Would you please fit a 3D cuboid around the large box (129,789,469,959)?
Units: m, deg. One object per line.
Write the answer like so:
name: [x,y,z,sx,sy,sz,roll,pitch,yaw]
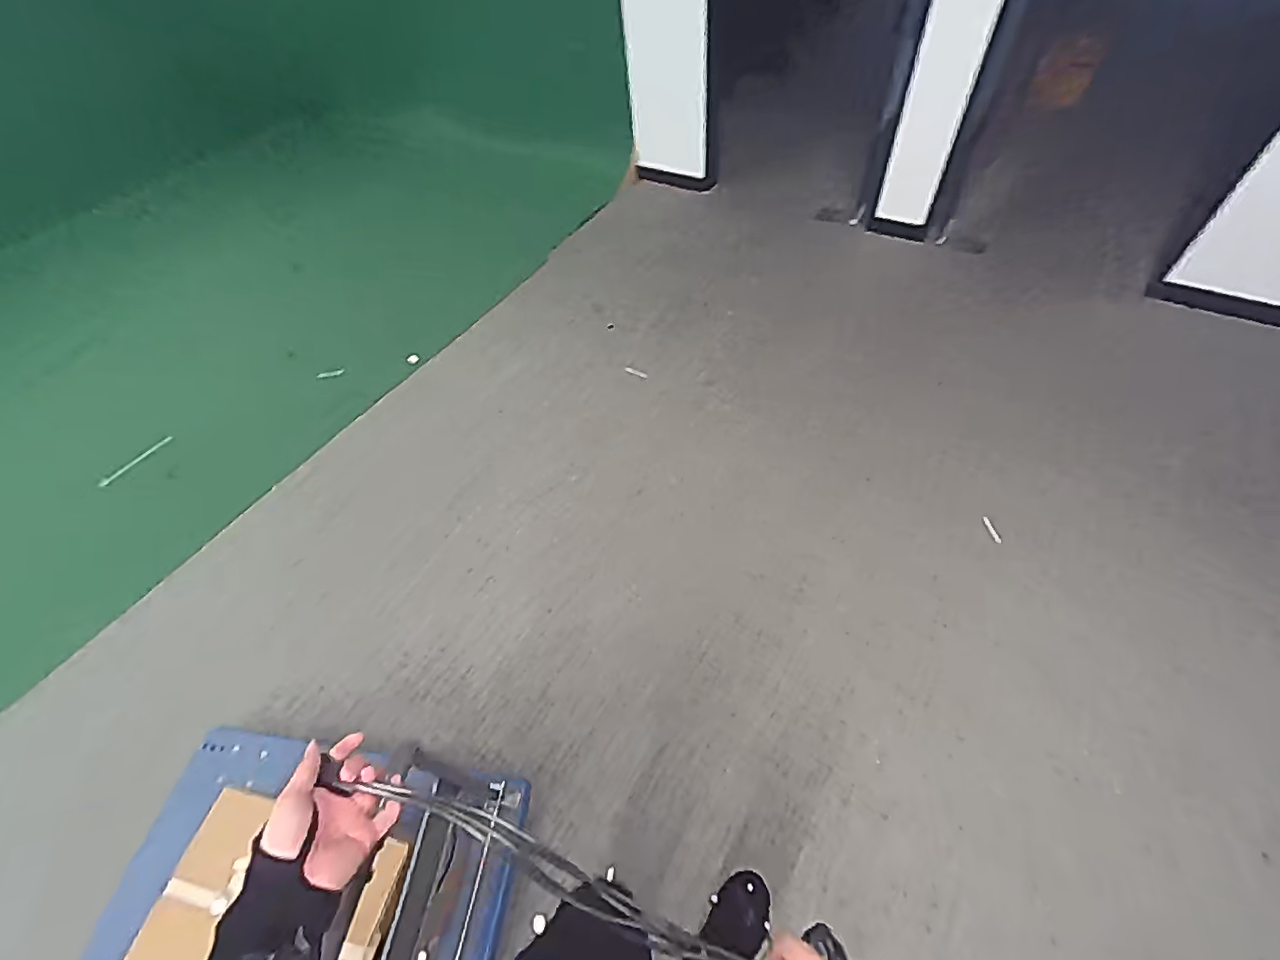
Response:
large box: [-0.606,0.814,1.021,0.408,0.320,0.320,8,56,12]
